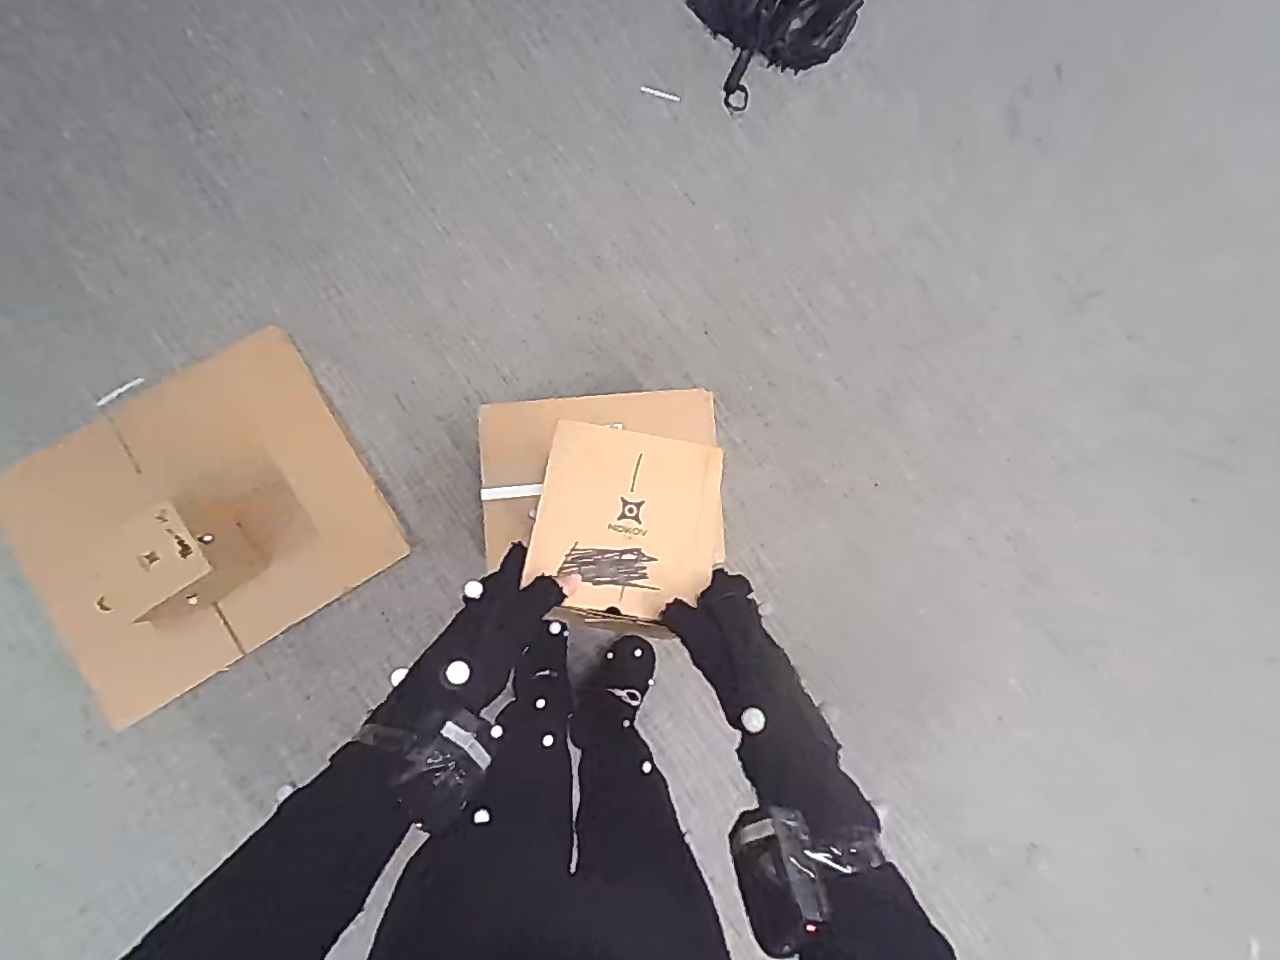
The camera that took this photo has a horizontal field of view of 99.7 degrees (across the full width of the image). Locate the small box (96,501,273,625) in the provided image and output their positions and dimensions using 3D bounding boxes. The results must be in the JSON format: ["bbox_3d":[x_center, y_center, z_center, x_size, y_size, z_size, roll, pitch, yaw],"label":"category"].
[{"bbox_3d":[-0.895,0.163,1.079,0.179,0.176,0.168,-38,85,-5],"label":"small box"}]

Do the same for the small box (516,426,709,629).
[{"bbox_3d":[-0.028,0.062,0.578,0.168,0.176,0.179,7,72,-4],"label":"small box"}]
